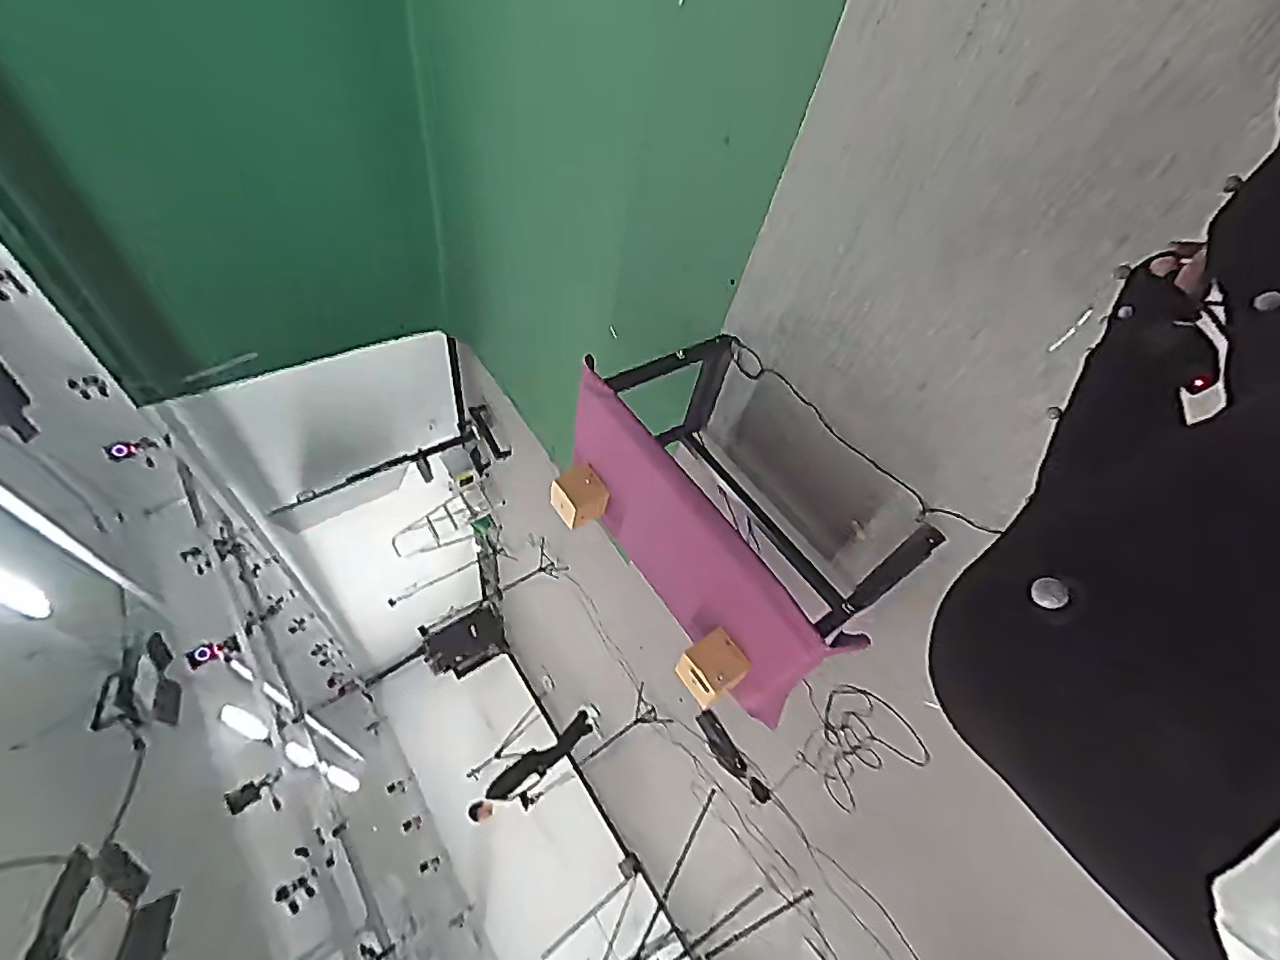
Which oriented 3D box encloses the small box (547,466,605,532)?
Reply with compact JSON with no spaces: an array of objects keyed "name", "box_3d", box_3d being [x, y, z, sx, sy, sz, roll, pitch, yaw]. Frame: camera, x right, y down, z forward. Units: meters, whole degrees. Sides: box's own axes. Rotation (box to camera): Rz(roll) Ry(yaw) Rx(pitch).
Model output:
[{"name":"small box","box_3d":[-0.261,0.076,2.204,0.168,0.176,0.179,49,148,20]}]
